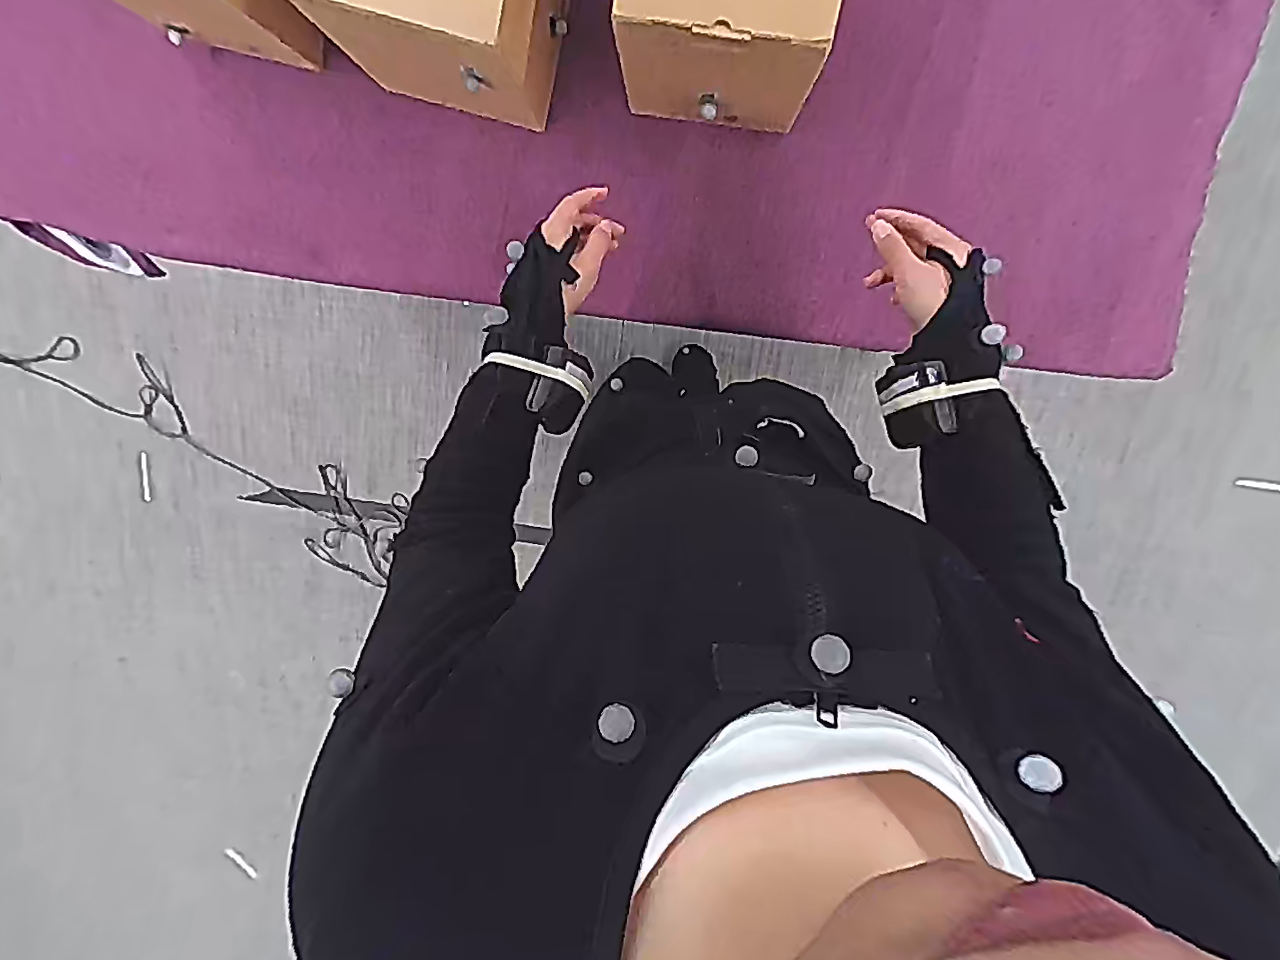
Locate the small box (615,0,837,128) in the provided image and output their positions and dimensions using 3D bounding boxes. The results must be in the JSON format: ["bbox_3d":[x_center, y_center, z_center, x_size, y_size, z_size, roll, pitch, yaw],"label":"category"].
[{"bbox_3d":[0.076,-0.435,0.453,0.168,0.176,0.179,9,104,2],"label":"small box"}]

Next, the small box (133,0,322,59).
[{"bbox_3d":[-0.396,-0.510,0.463,0.168,0.176,0.179,13,104,0],"label":"small box"}]
